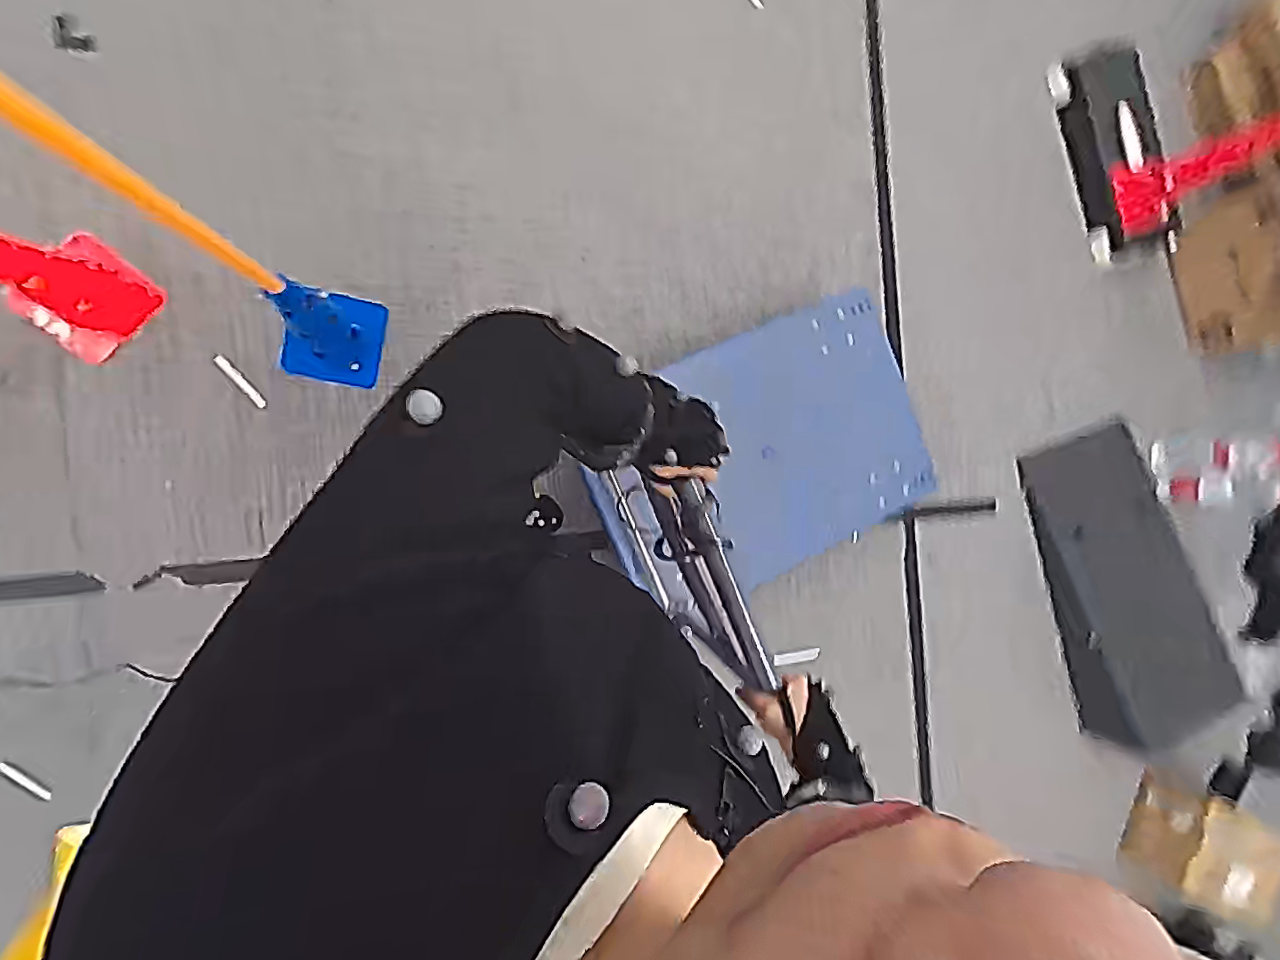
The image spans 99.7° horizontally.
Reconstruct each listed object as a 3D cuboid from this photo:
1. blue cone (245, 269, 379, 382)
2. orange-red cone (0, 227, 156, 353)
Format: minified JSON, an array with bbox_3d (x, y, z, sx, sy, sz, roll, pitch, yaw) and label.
[{"bbox_3d":[-0.654,-0.323,1.053,0.192,0.380,0.193,12,87,-14],"label":"blue cone"},{"bbox_3d":[-1.075,-0.377,0.923,0.199,0.360,0.198,43,80,-13],"label":"orange-red cone"}]
